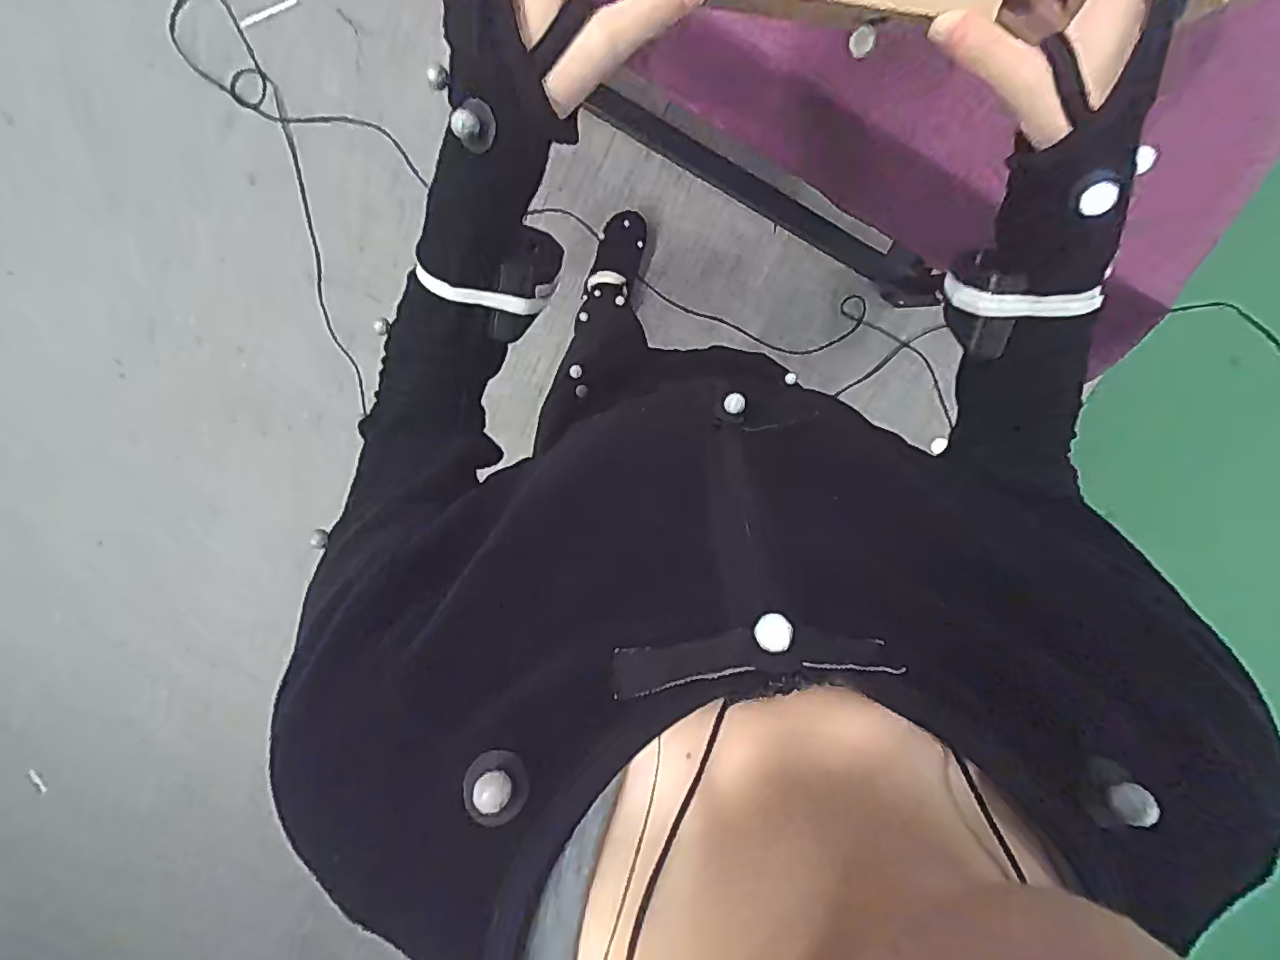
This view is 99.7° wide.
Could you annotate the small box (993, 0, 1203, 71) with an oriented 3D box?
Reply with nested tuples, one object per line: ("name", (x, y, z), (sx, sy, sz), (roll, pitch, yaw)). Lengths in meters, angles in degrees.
("small box", (0.484, -0.553, 0.521), (0.168, 0.176, 0.179), (28, 102, -8))
